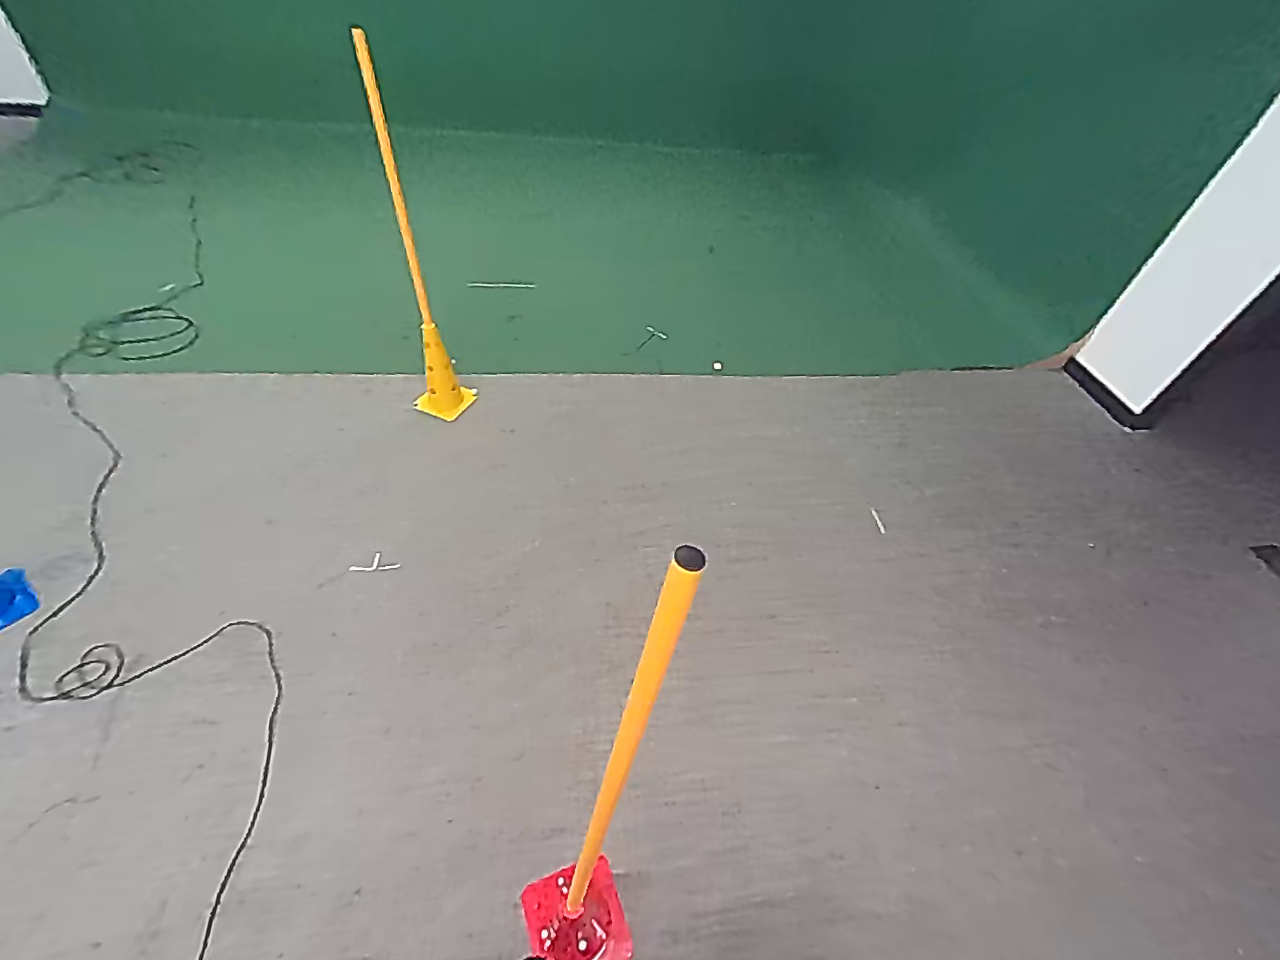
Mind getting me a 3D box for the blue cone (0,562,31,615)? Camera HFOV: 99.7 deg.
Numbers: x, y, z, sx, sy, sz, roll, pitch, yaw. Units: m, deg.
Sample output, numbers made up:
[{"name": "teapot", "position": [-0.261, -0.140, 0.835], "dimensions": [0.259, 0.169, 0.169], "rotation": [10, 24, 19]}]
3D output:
[{"name": "blue cone", "position": [-1.810, 0.226, 1.369], "dimensions": [0.192, 0.380, 0.193], "rotation": [34, 55, 21]}]
